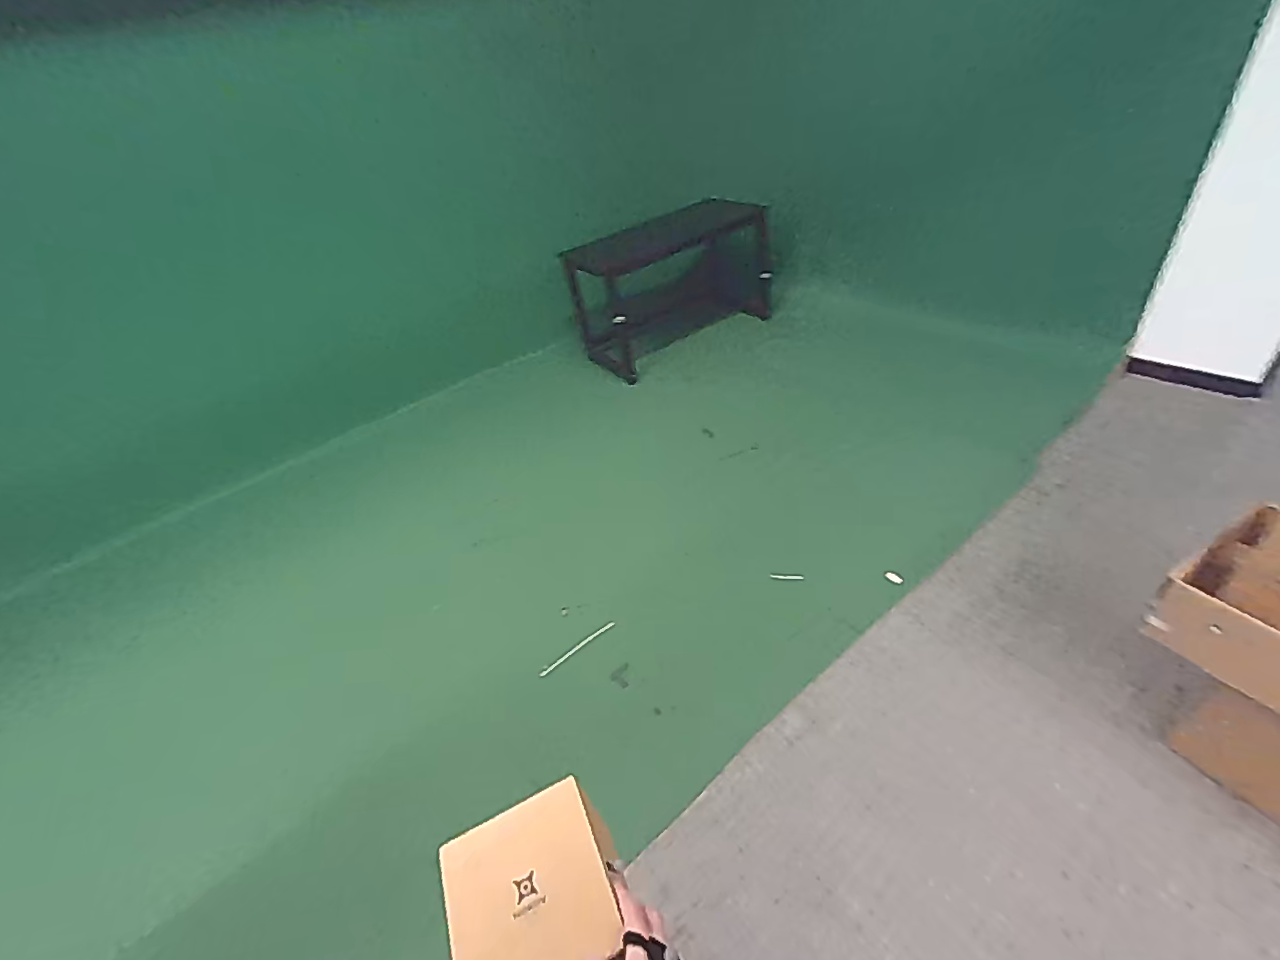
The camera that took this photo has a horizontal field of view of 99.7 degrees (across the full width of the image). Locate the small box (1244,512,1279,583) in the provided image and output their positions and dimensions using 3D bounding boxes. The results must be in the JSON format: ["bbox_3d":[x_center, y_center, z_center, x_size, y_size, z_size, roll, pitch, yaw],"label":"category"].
[{"bbox_3d":[1.362,0.115,1.061,0.179,0.176,0.168,-29,41,-20],"label":"small box"}]

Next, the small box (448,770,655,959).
[{"bbox_3d":[-0.096,0.474,0.604,0.168,0.176,0.179,-22,41,-12],"label":"small box"}]
